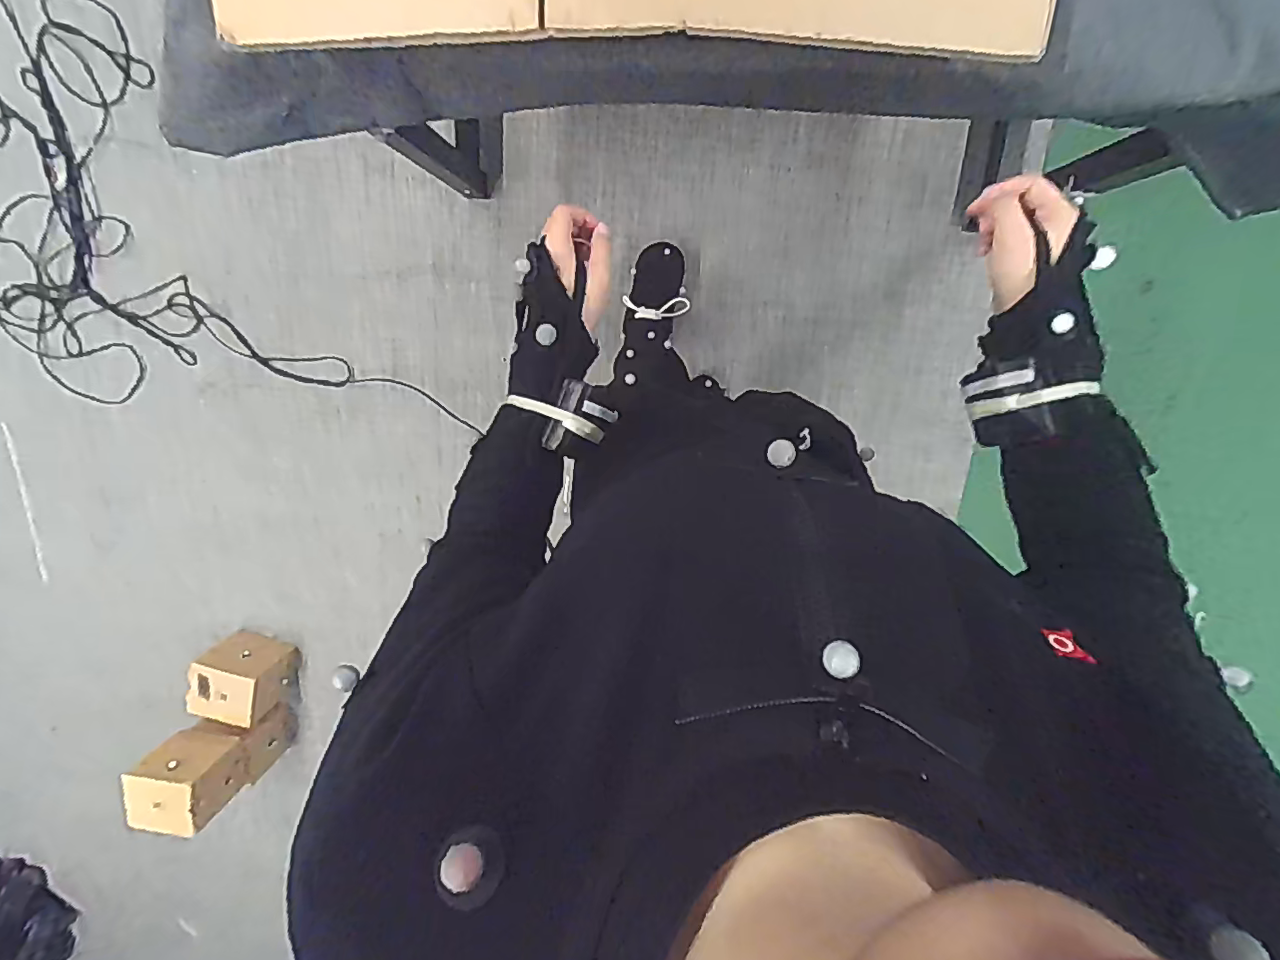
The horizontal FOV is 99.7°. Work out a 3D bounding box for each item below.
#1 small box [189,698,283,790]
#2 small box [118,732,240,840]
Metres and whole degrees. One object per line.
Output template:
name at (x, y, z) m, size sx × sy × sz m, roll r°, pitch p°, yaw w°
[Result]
small box at (-1.166, 0.756, 1.563) m, size 0.179 × 0.176 × 0.168 m, roll 8°, pitch 105°, yaw 0°
small box at (-1.188, 0.784, 1.403) m, size 0.179 × 0.176 × 0.168 m, roll 8°, pitch 105°, yaw 1°
